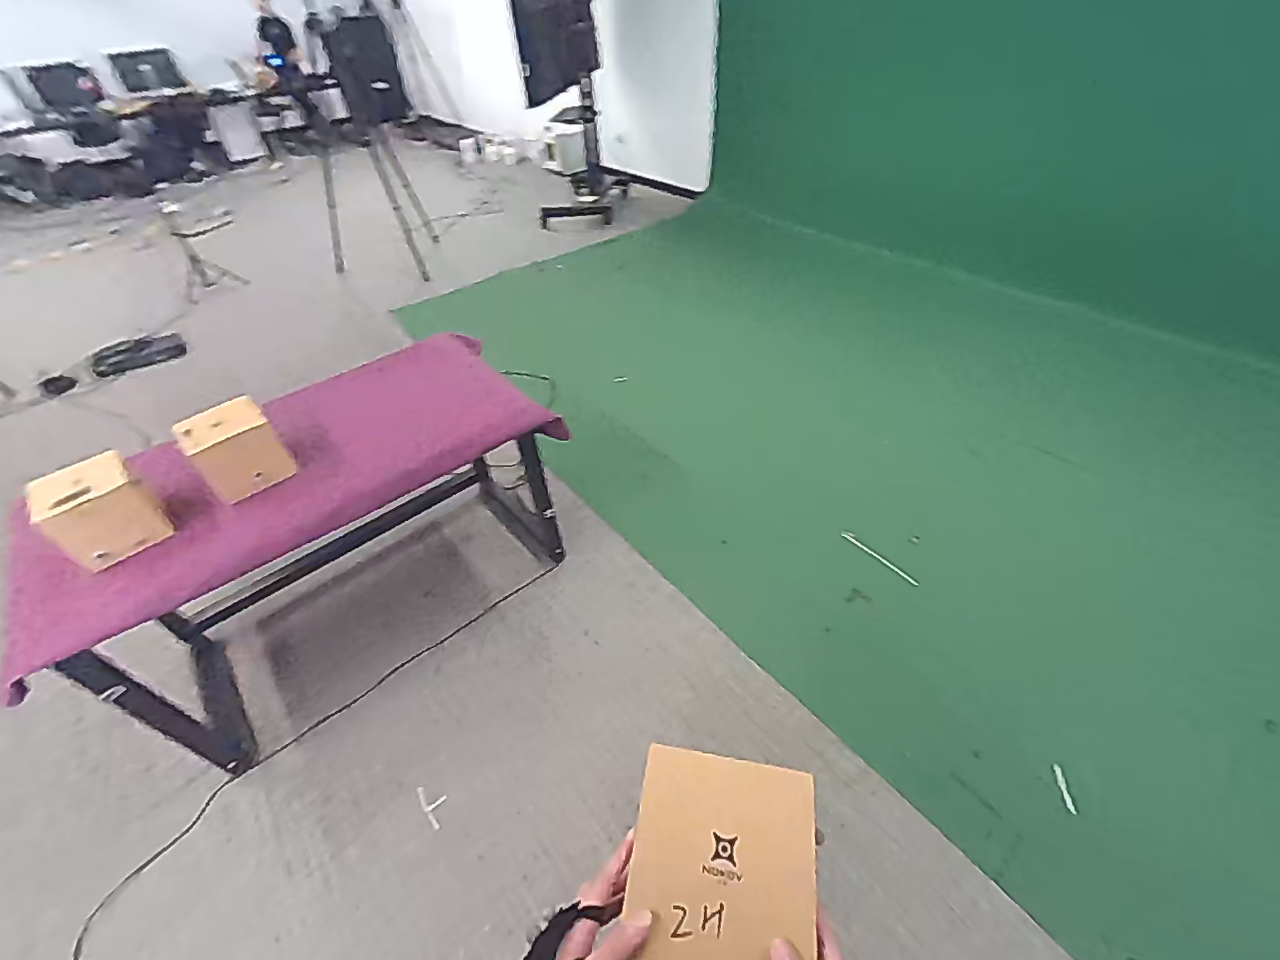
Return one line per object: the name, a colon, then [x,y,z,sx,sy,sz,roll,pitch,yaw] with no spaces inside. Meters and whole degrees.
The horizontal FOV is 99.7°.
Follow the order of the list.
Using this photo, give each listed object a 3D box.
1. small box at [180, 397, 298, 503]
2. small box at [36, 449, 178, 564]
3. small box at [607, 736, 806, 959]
small box: [-1.000,-0.076,1.366,0.179,0.176,0.168,-34,51,-29]
small box: [-1.205,0.065,1.231,0.168,0.176,0.179,-34,50,-28]
small box: [0.069,0.391,0.551,0.168,0.176,0.179,6,49,9]
